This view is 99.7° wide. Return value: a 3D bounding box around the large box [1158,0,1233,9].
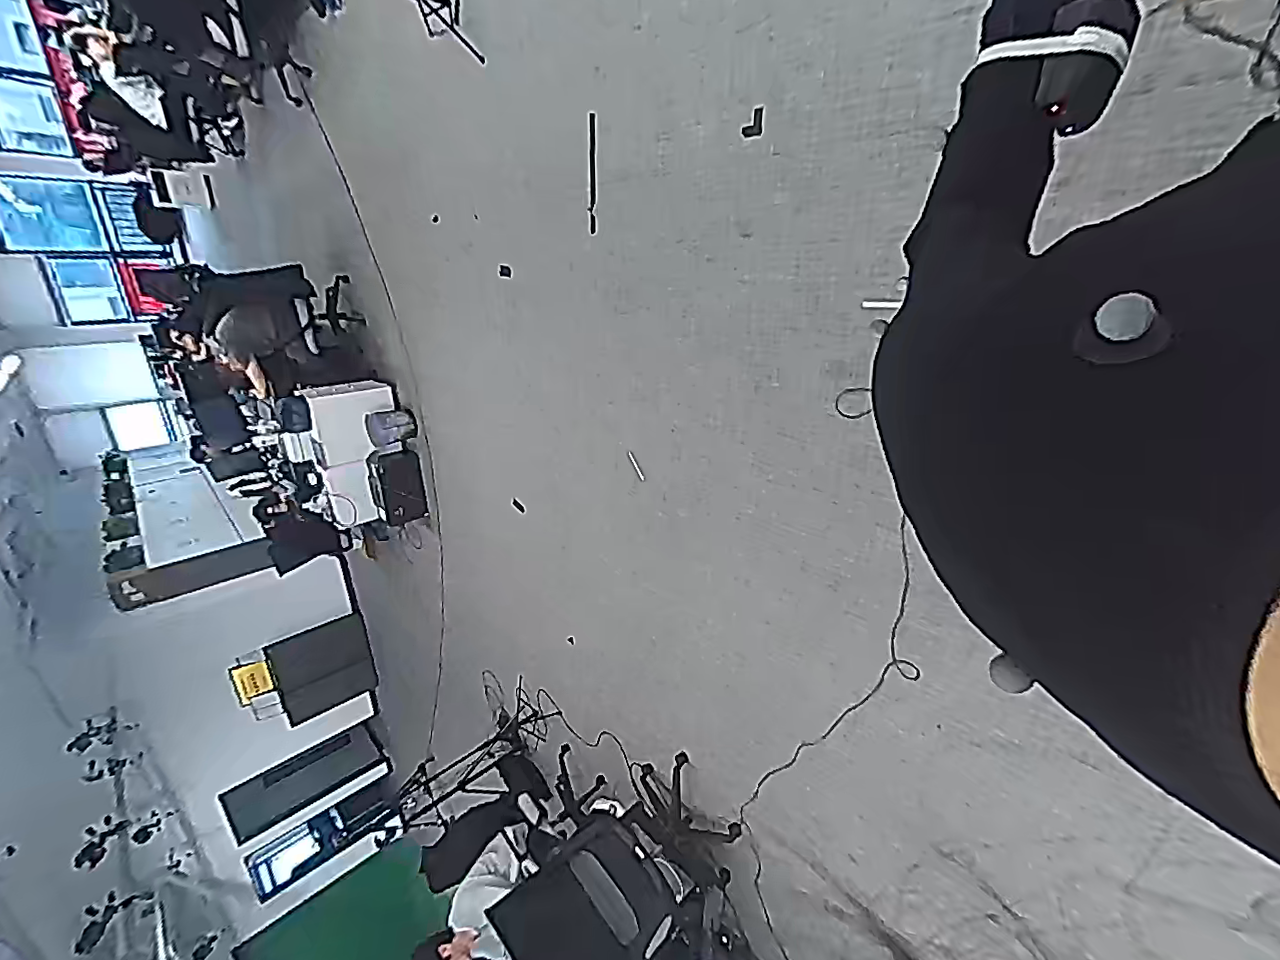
[{"bbox_3d":[0.544,-0.468,0.248,0.408,0.320,0.320,25,134,38],"label":"large box"}]
